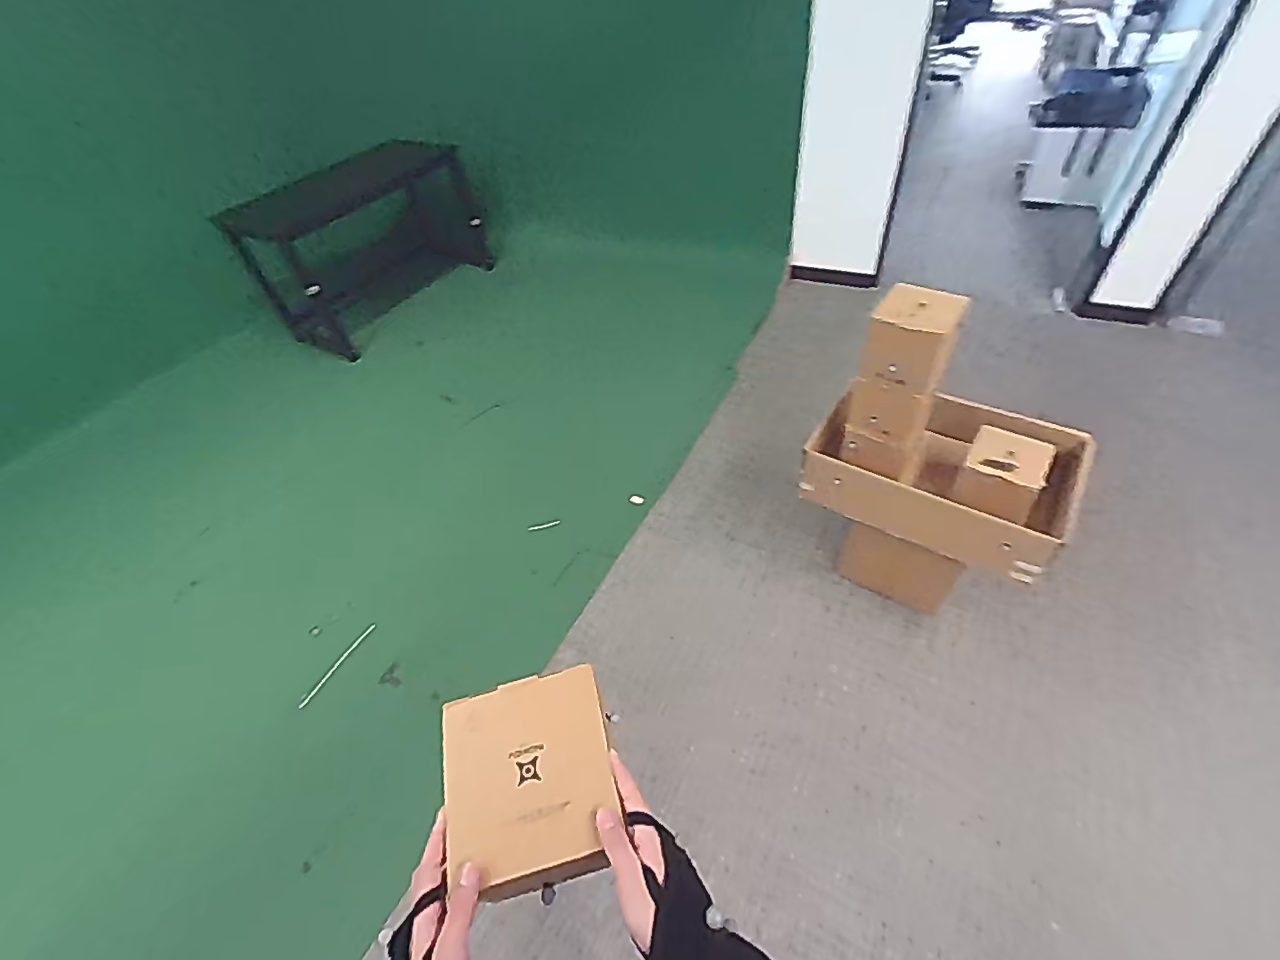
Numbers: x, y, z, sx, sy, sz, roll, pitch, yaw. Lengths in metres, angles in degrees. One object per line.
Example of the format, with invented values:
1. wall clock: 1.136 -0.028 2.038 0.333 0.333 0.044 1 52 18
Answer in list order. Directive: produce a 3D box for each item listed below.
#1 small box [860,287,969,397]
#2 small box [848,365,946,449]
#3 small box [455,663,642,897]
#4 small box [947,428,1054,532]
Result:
1. small box: 0.644 -0.328 1.288 0.168 0.176 0.179 26 57 29
2. small box: 0.661 -0.214 1.407 0.168 0.176 0.179 26 56 28
3. small box: -0.098 0.333 0.599 0.168 0.176 0.179 -13 51 -6
4. small box: 0.914 0.004 1.386 0.168 0.176 0.179 26 56 28
